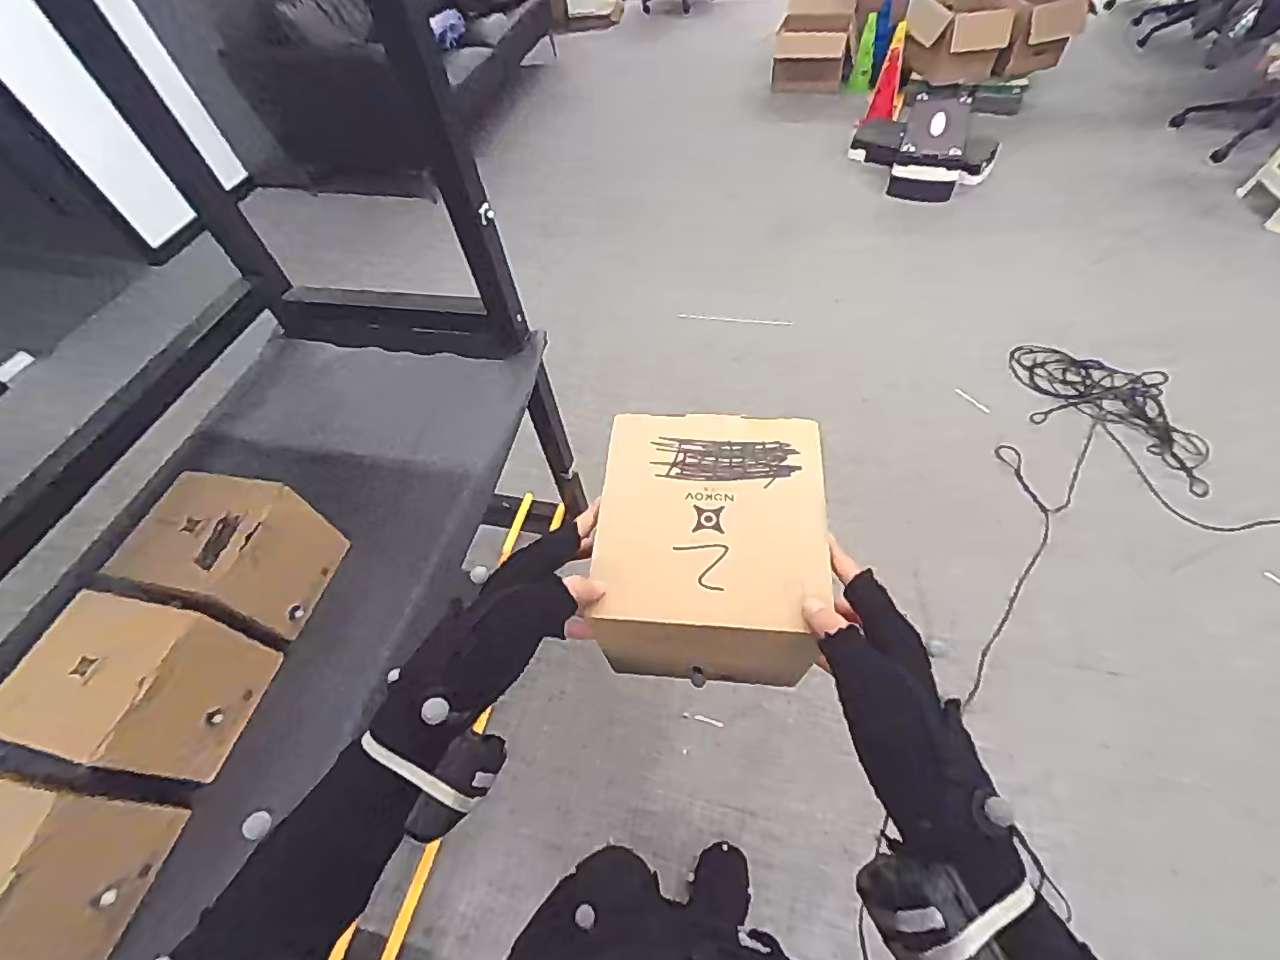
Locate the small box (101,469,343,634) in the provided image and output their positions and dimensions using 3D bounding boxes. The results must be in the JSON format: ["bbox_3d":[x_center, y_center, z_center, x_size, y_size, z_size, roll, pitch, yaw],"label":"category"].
[{"bbox_3d":[-0.571,0.107,0.771,0.179,0.176,0.168,6,56,12],"label":"small box"}]

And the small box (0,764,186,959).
[{"bbox_3d":[-0.652,0.408,0.565,0.179,0.176,0.168,6,56,11],"label":"small box"}]
